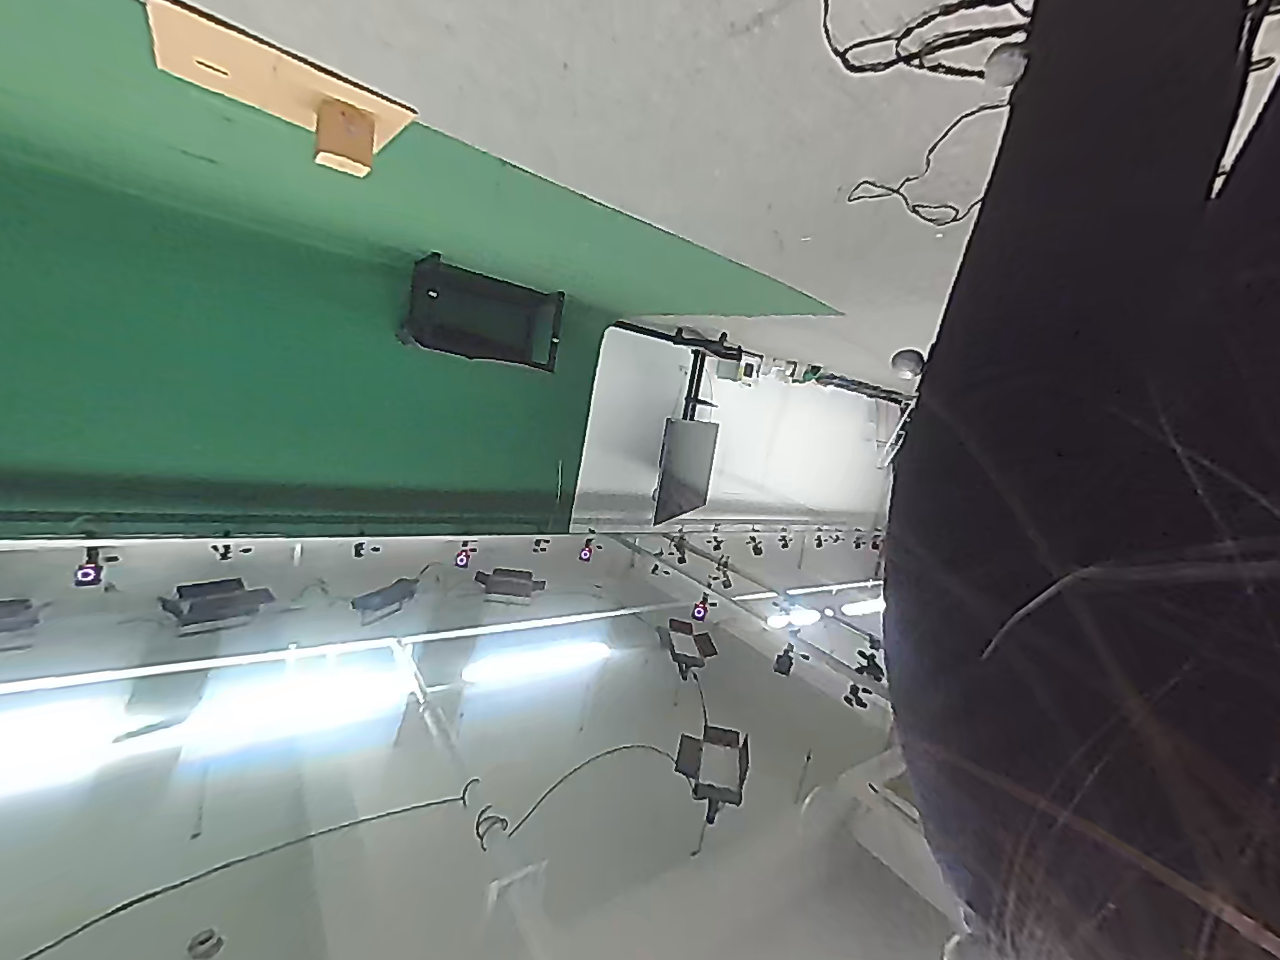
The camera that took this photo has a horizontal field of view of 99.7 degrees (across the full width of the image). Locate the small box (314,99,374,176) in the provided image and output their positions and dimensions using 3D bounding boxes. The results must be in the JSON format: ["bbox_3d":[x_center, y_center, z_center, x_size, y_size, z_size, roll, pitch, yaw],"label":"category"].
[{"bbox_3d":[-1.084,-1.251,1.982,0.168,0.176,0.179,2,-168,-38],"label":"small box"}]
